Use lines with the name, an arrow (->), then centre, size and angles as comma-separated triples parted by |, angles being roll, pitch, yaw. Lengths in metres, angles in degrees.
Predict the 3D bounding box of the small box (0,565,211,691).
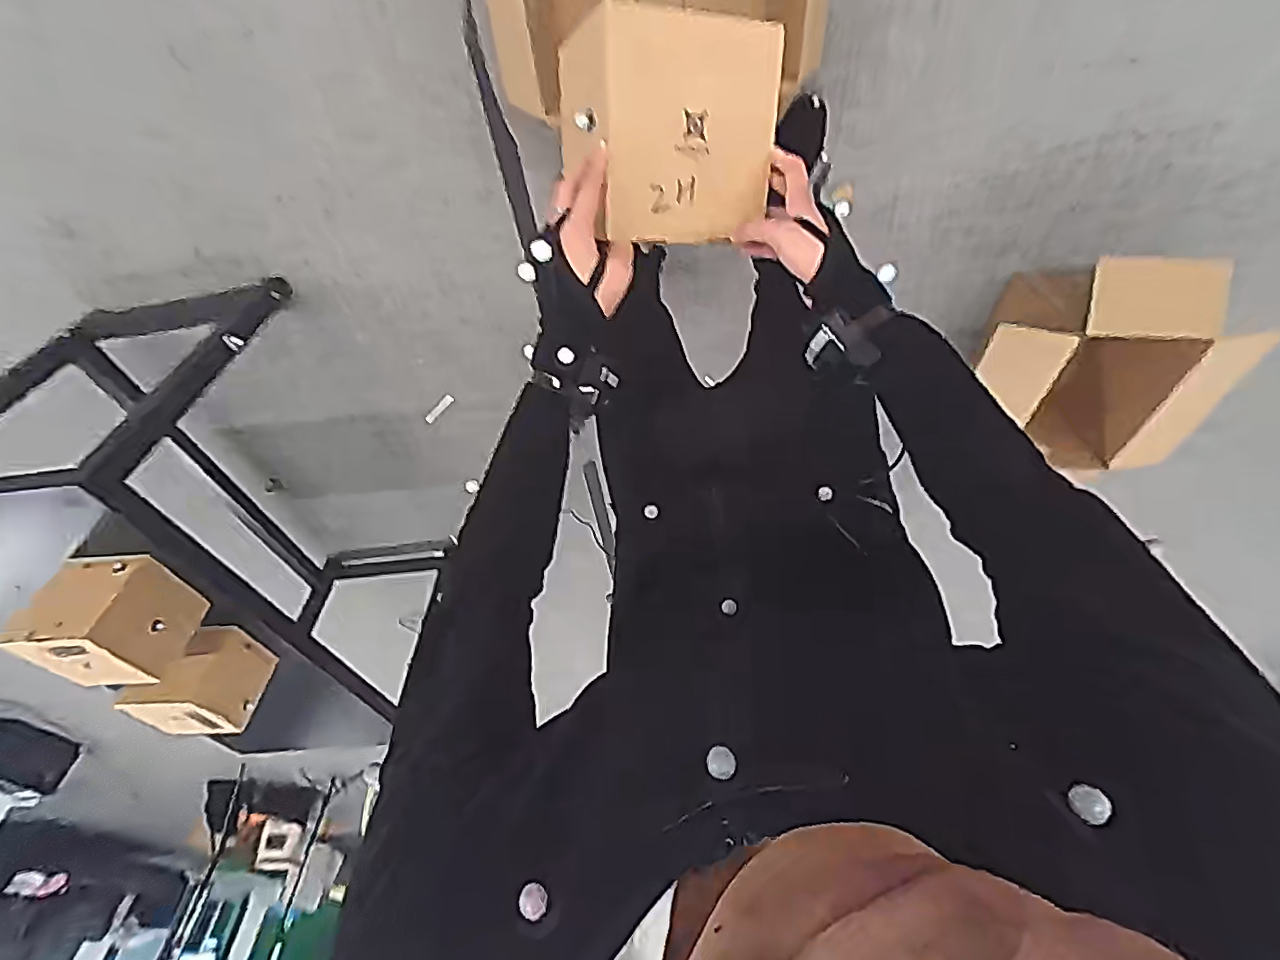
small box -> -0.953, 0.266, 0.987 | 0.168, 0.176, 0.179 | -4, 138, 5

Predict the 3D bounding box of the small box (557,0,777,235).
small box -> 0.015, -0.346, 0.545 | 0.168, 0.176, 0.179 | -8, 118, -17
